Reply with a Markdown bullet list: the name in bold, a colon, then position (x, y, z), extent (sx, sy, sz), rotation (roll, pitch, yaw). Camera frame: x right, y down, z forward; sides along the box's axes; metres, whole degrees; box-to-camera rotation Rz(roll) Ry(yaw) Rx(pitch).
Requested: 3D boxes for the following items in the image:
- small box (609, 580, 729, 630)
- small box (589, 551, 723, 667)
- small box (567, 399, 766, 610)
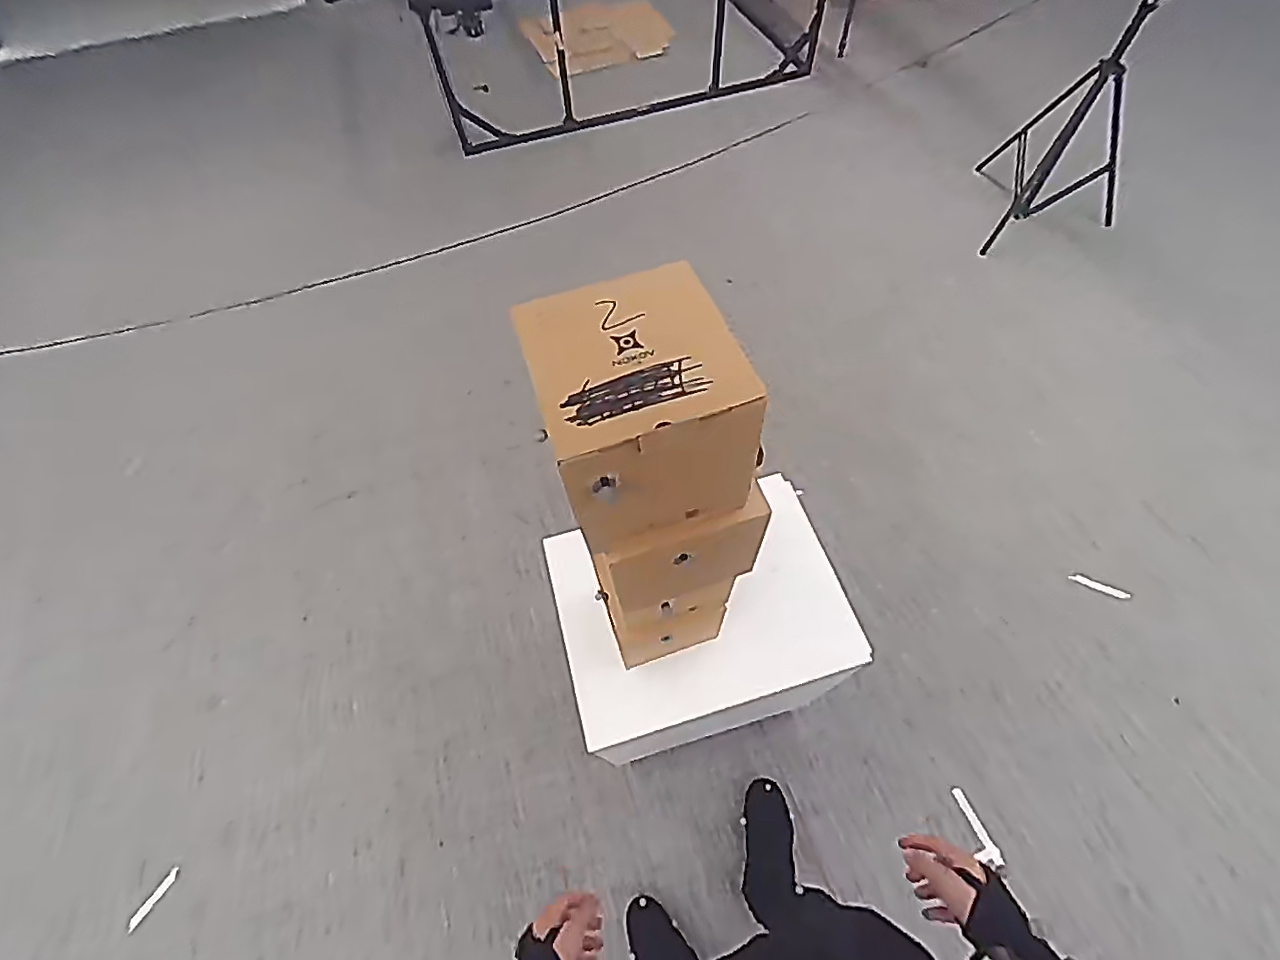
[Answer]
- **small box**: position (0.028, 0.105, 0.793), extent (0.168, 0.176, 0.179), rotation (-17, 59, -7)
- **small box**: position (0.027, 0.202, 0.924), extent (0.179, 0.176, 0.168), rotation (-17, 61, -8)
- **small box**: position (0.028, 0.036, 0.642), extent (0.179, 0.176, 0.168), rotation (-17, 60, -7)
